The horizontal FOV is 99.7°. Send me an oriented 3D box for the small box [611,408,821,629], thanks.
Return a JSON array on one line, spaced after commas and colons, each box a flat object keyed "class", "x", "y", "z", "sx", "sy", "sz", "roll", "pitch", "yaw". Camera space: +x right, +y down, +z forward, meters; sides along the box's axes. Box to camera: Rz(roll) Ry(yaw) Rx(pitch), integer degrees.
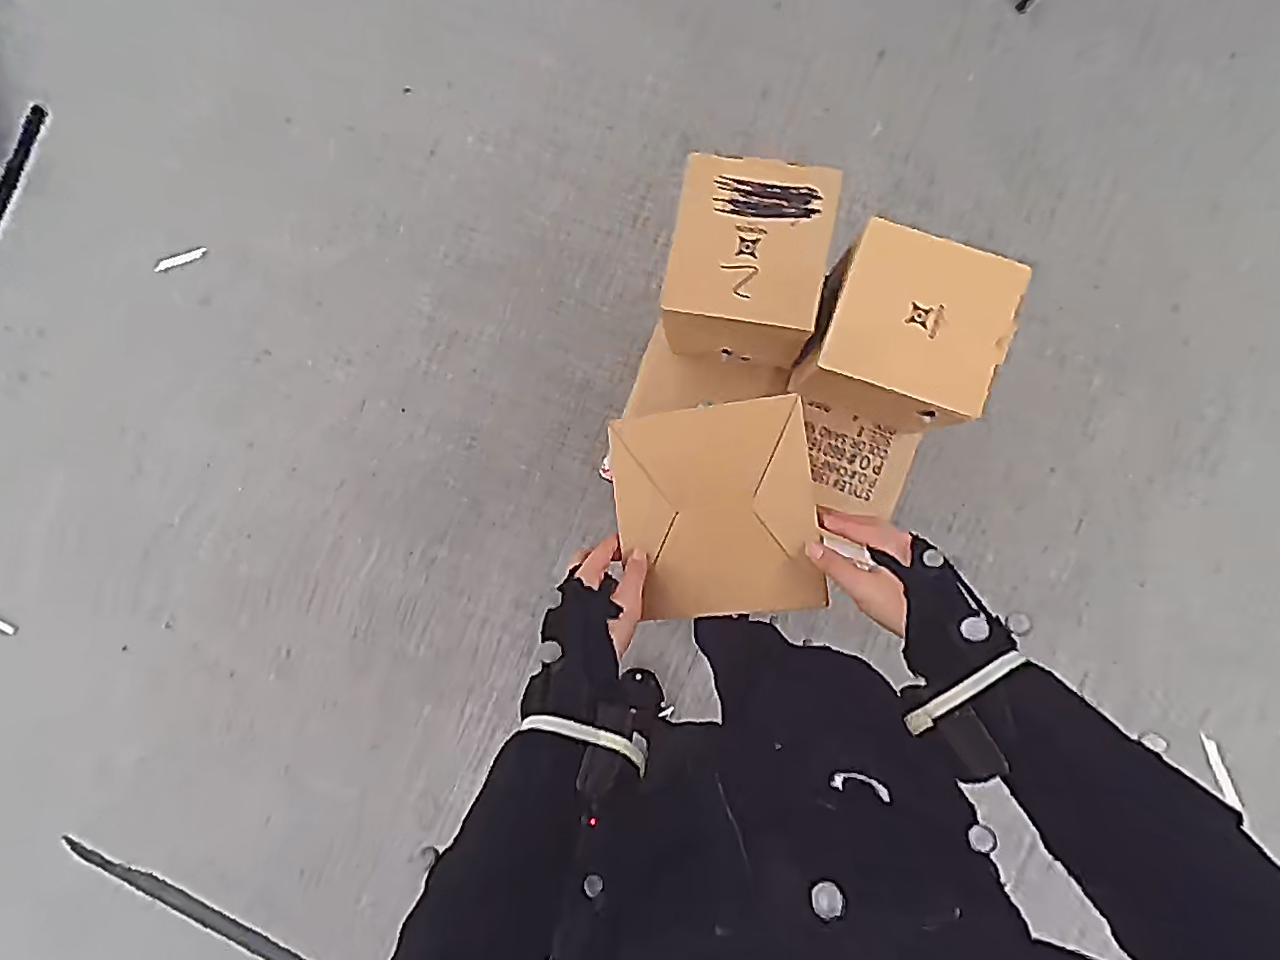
[{"class": "small box", "x": 0.075, "y": 0.040, "z": 0.530, "sx": 0.168, "sy": 0.176, "sz": 0.179, "roll": -8, "pitch": 86, "yaw": 10}]
